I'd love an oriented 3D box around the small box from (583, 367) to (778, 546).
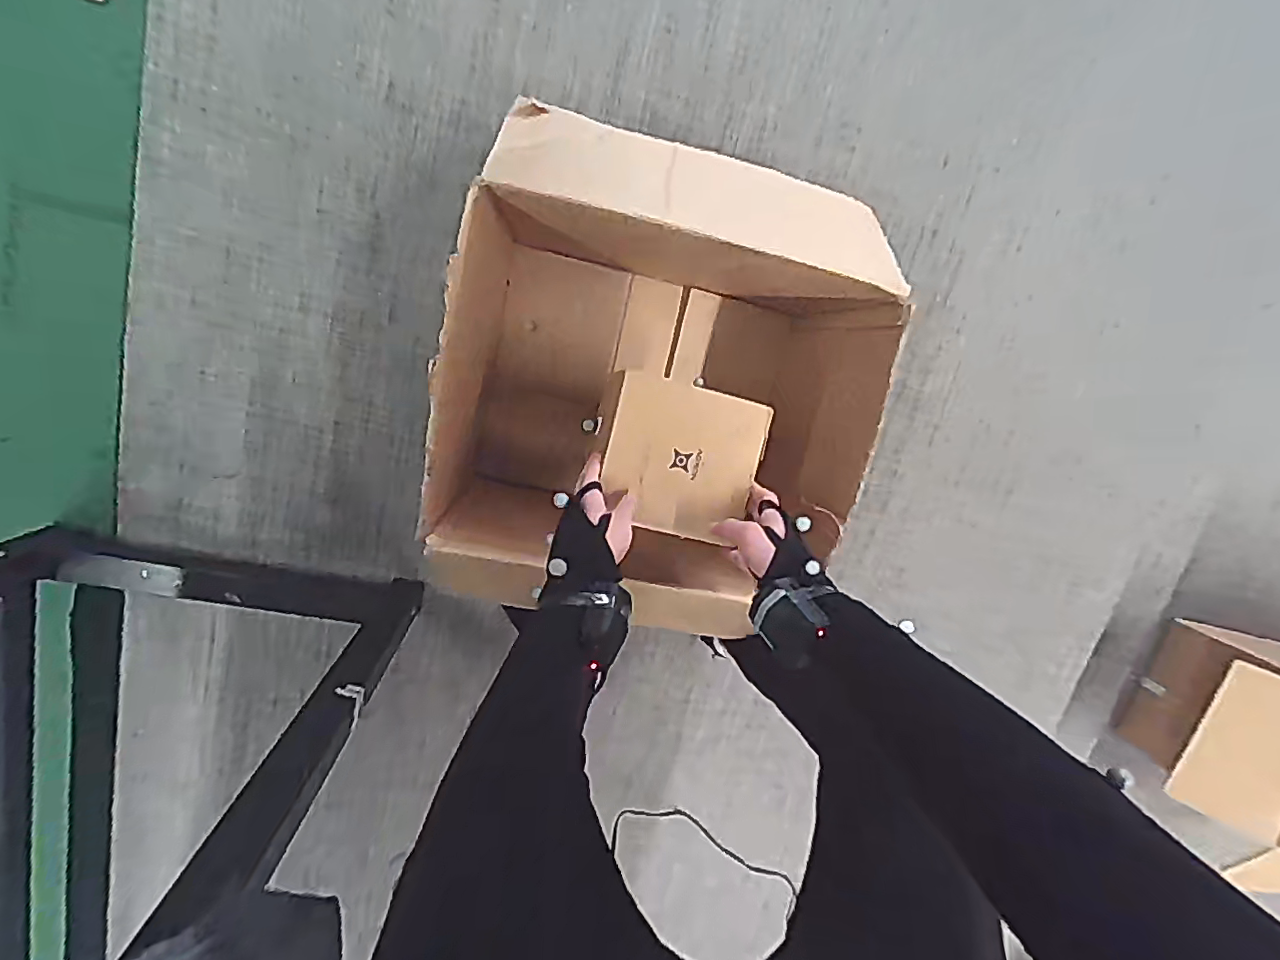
[{"bbox_3d":[0.036,-0.032,0.656,0.179,0.176,0.168,12,94,-11],"label":"small box"}]
